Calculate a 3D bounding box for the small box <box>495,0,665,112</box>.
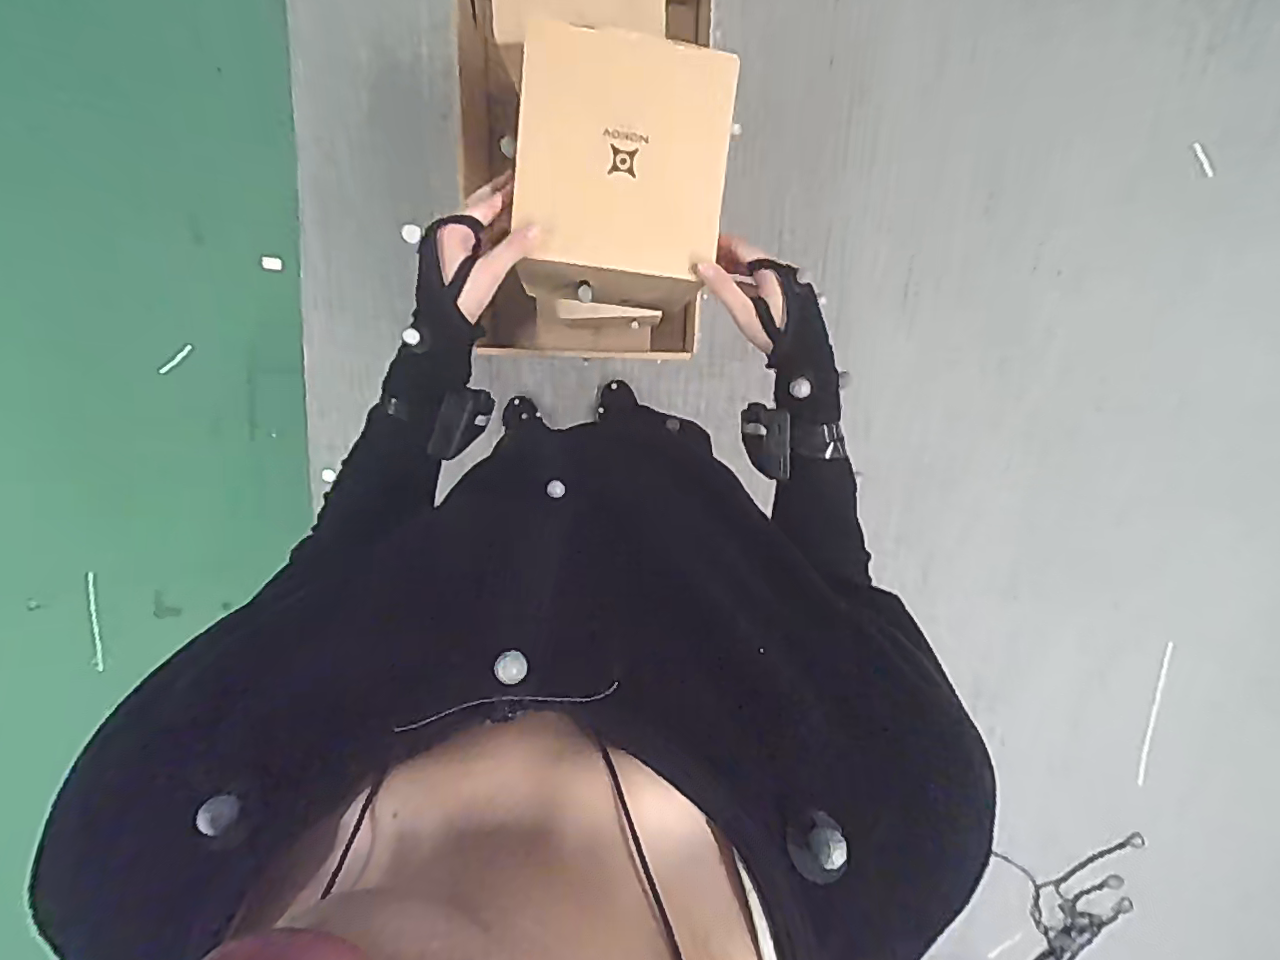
[{"bbox_3d":[-0.056,-0.520,0.576,0.168,0.176,0.179,0,104,-1],"label":"small box"}]
